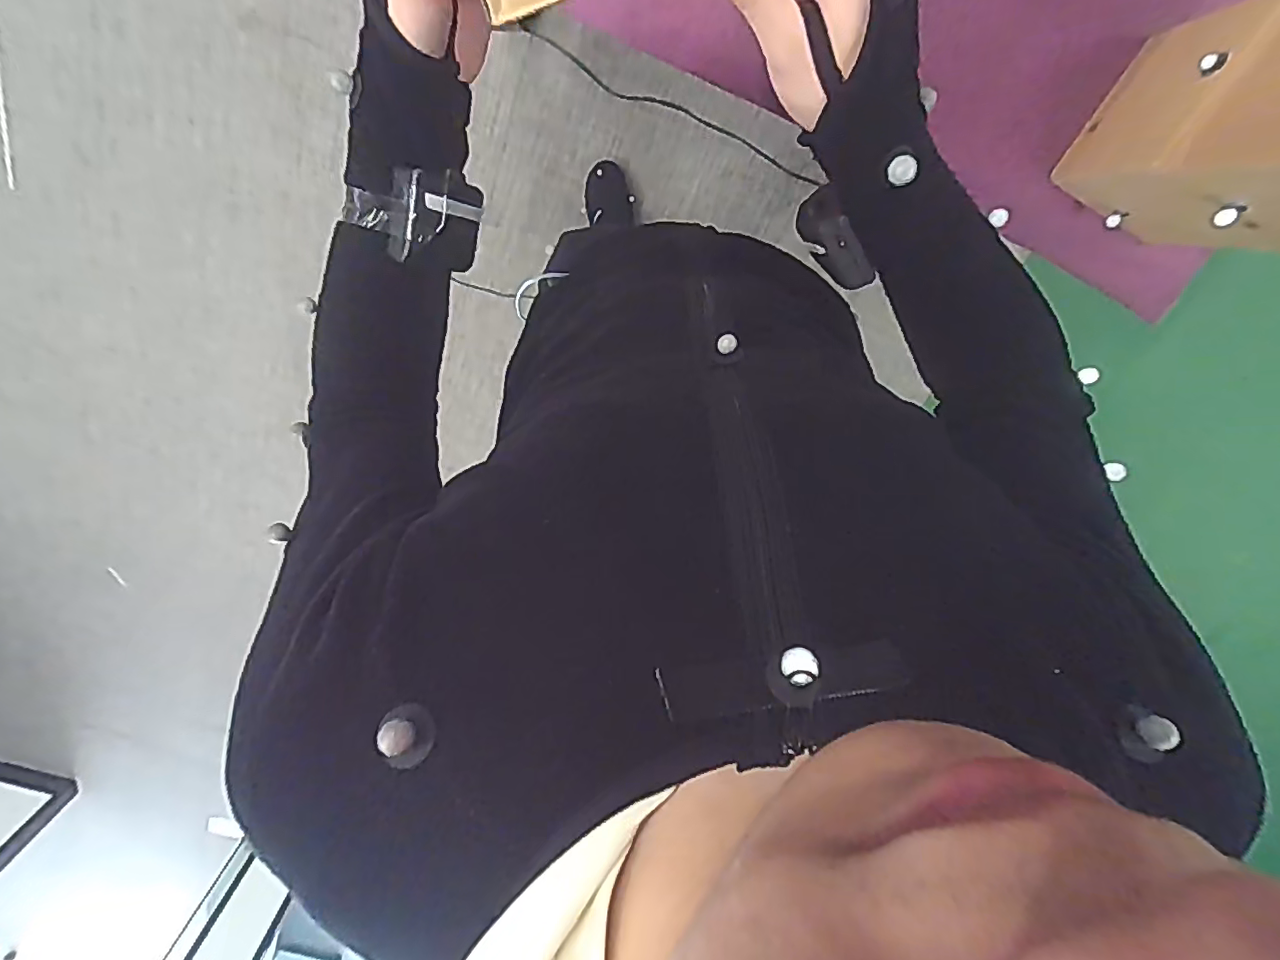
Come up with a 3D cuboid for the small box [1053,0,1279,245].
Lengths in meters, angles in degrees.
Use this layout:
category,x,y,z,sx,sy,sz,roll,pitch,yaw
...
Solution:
category,x,y,z,sx,sy,sz,roll,pitch,yaw
small box,0.630,-0.387,0.601,0.179,0.176,0.168,25,115,-10
